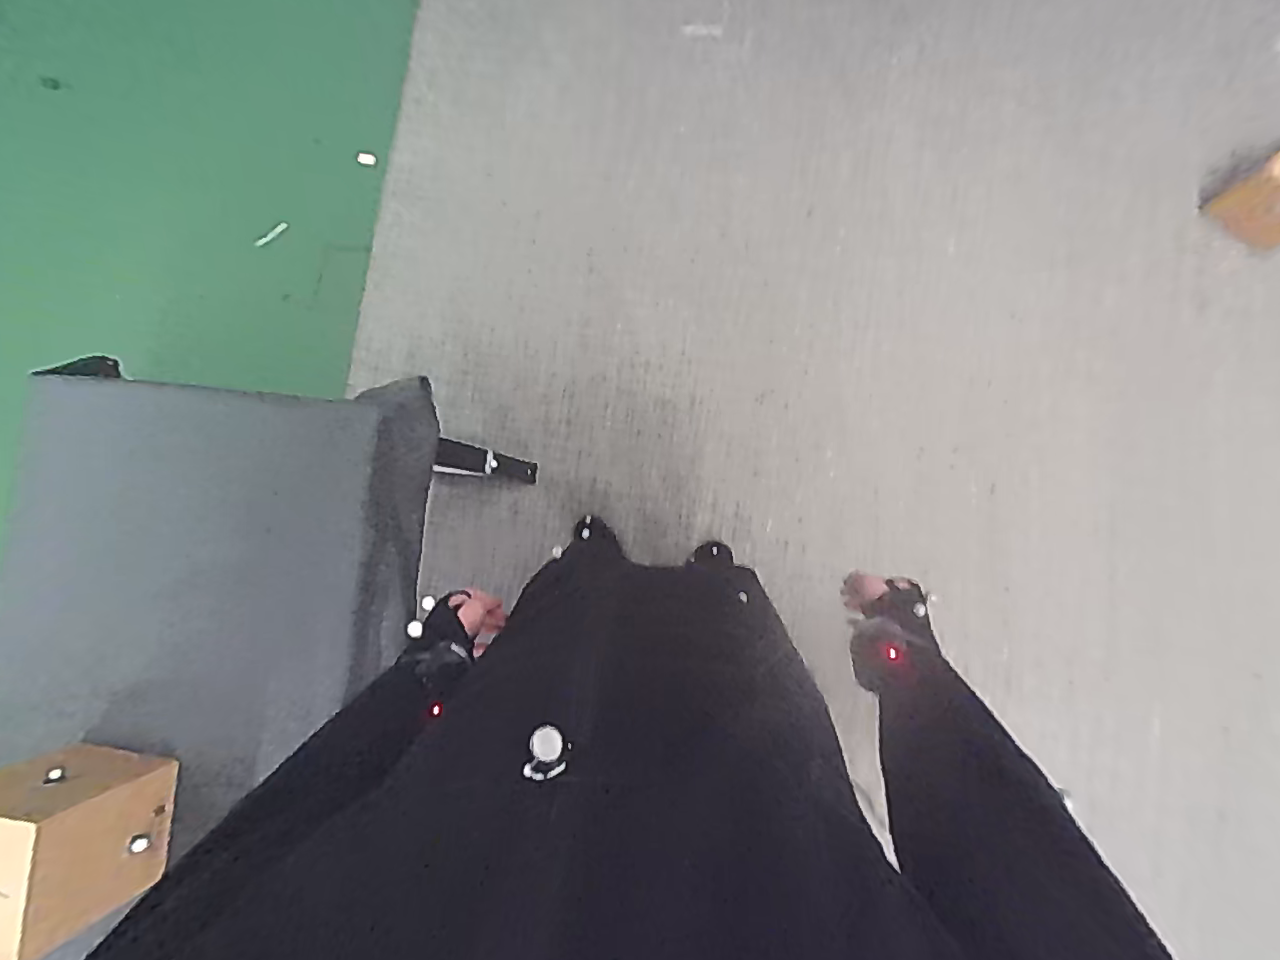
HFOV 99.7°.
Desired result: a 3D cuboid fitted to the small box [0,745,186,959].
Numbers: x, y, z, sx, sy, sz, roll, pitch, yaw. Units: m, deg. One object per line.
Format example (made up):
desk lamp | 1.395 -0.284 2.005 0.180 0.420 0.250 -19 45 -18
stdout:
small box | -0.748 0.464 0.696 0.179 0.176 0.168 4 86 8
